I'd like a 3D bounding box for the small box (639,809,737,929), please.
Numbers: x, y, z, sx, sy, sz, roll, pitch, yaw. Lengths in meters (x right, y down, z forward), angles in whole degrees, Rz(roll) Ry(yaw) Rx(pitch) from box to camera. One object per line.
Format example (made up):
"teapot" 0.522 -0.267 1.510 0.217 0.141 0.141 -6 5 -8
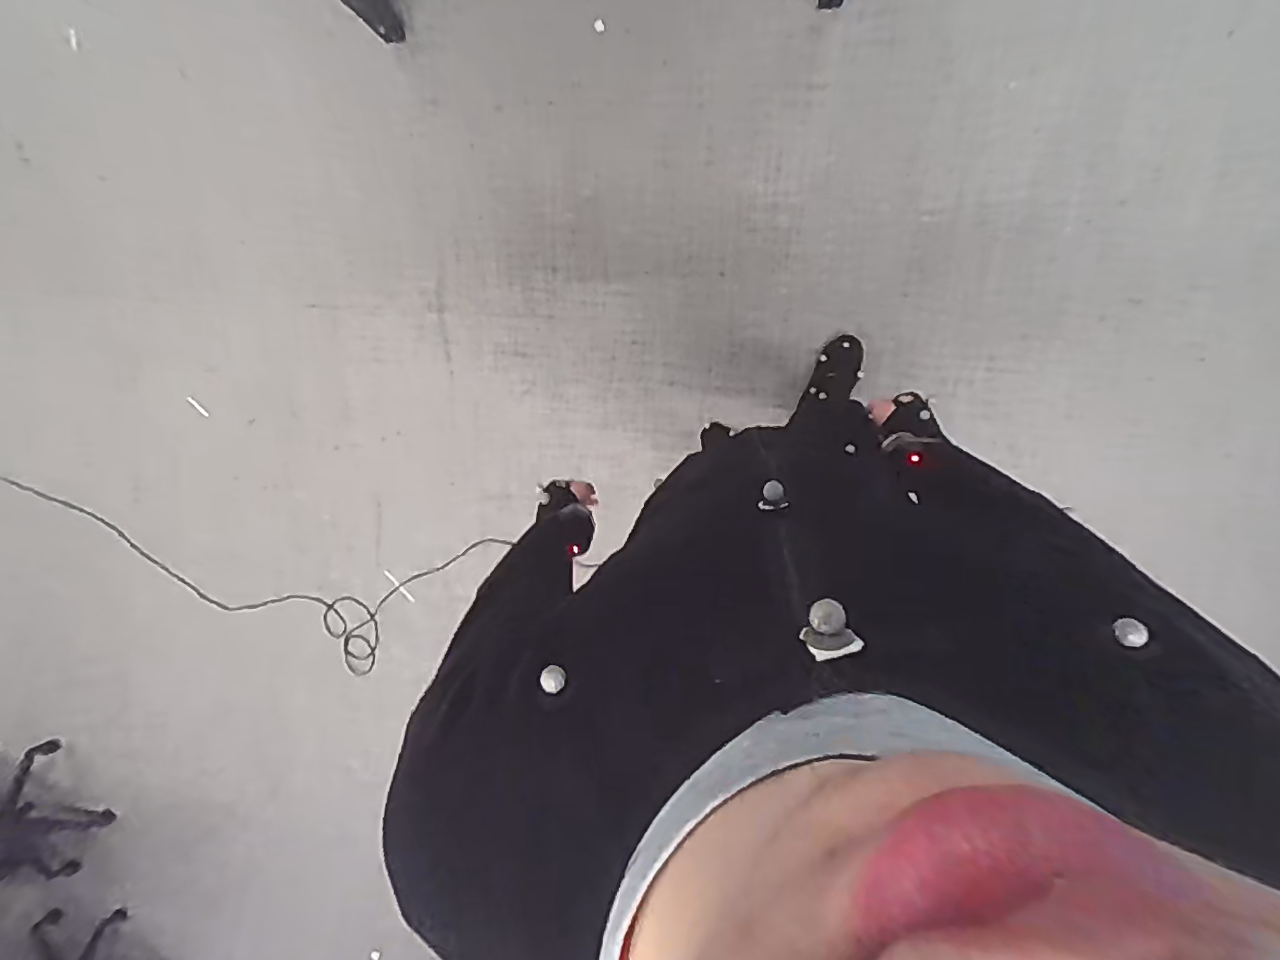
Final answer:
"small box" 0.096 0.761 1.015 0.168 0.176 0.179 -3 102 9

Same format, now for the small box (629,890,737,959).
"small box" 0.071 0.796 0.856 0.168 0.176 0.179 -2 103 10
